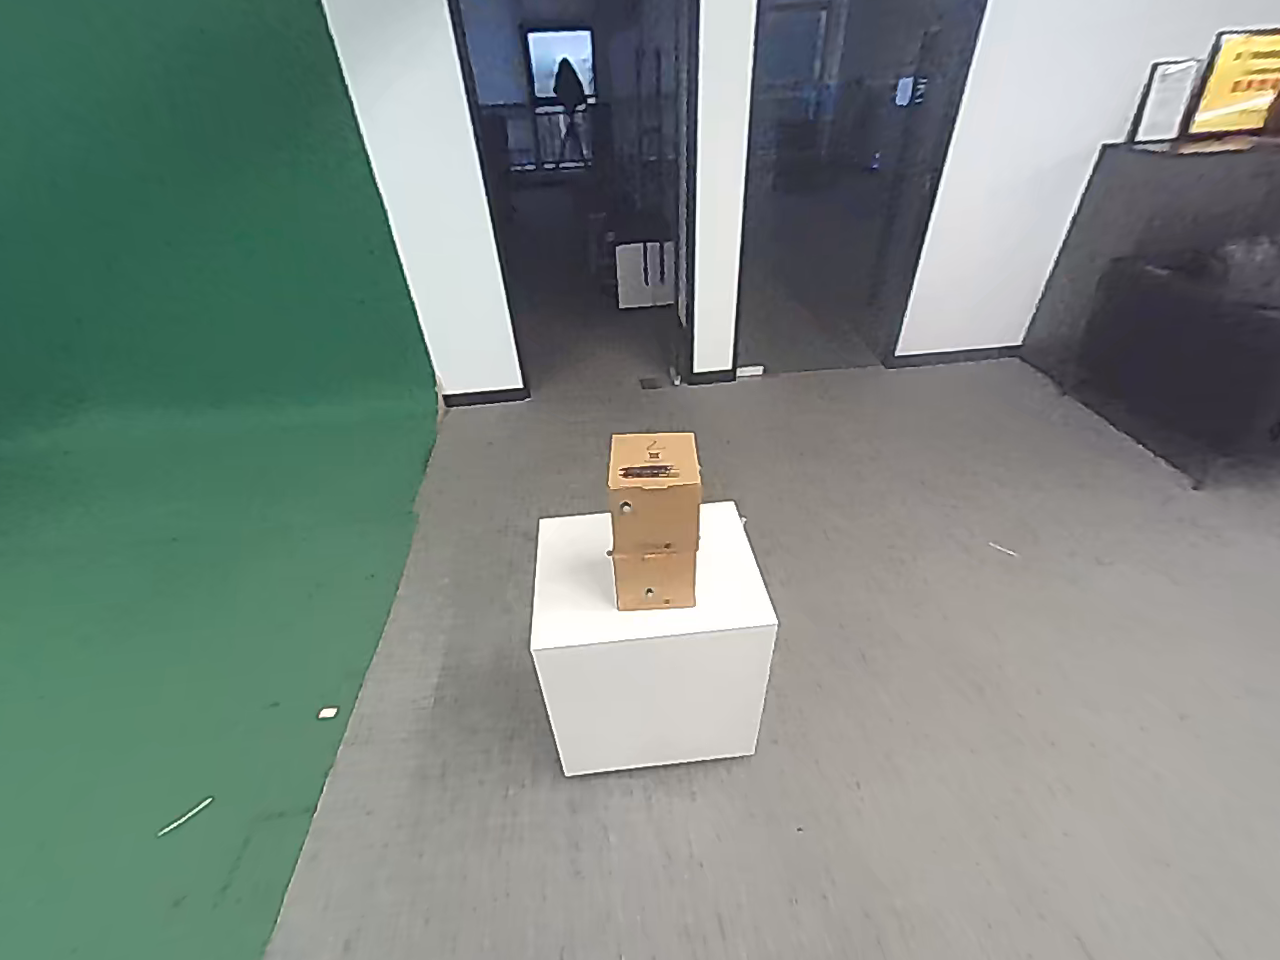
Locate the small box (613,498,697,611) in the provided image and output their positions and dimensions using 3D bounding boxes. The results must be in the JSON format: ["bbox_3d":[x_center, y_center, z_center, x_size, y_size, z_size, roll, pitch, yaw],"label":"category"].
[{"bbox_3d":[0.029,0.157,1.155,0.168,0.176,0.179,-3,36,0],"label":"small box"}]
